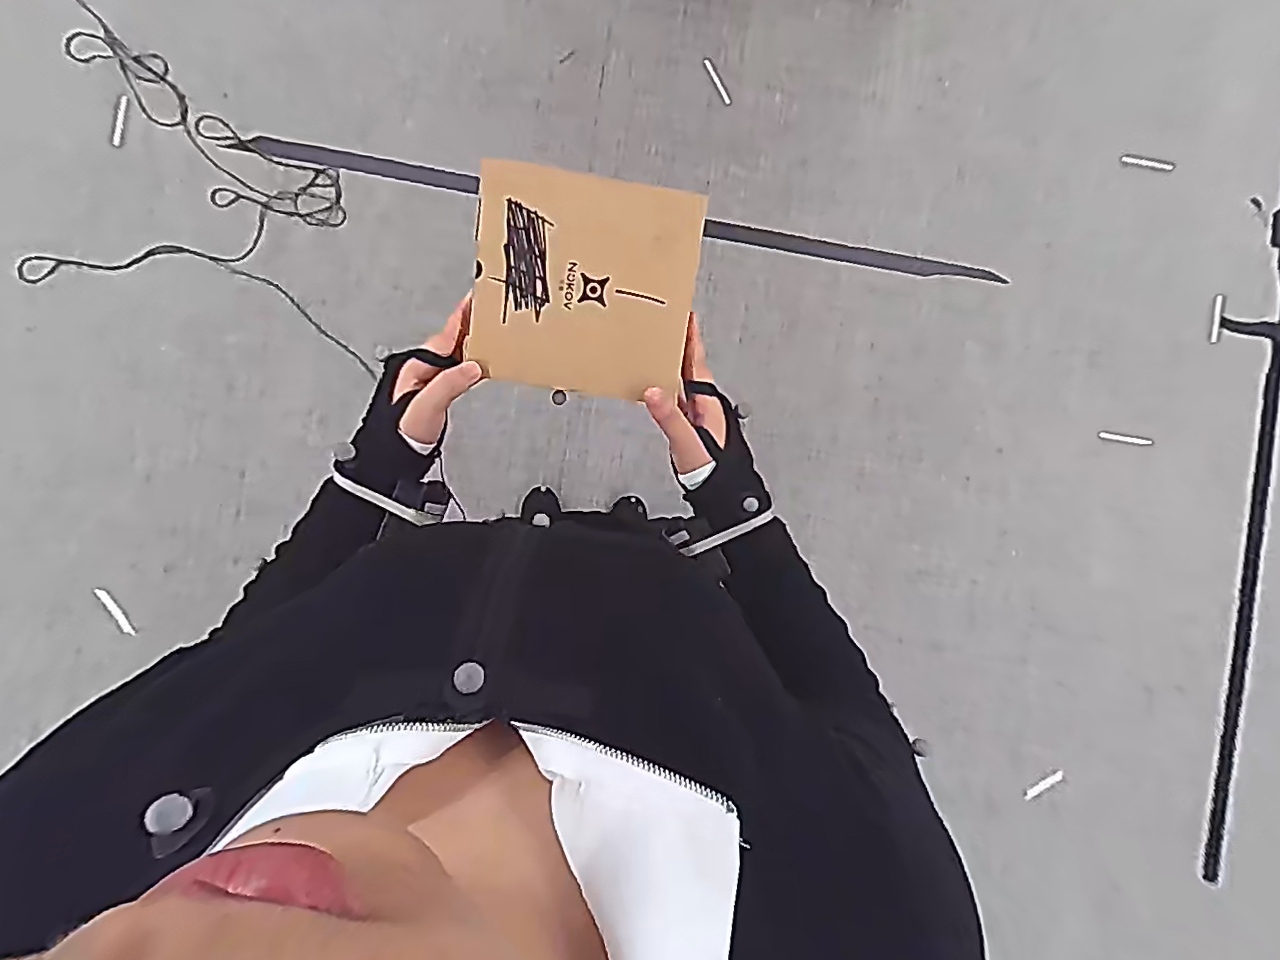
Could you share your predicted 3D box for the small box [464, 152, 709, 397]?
[{"bbox_3d":[-0.047,-0.170,0.504,0.179,0.176,0.168,8,99,-4],"label":"small box"}]
